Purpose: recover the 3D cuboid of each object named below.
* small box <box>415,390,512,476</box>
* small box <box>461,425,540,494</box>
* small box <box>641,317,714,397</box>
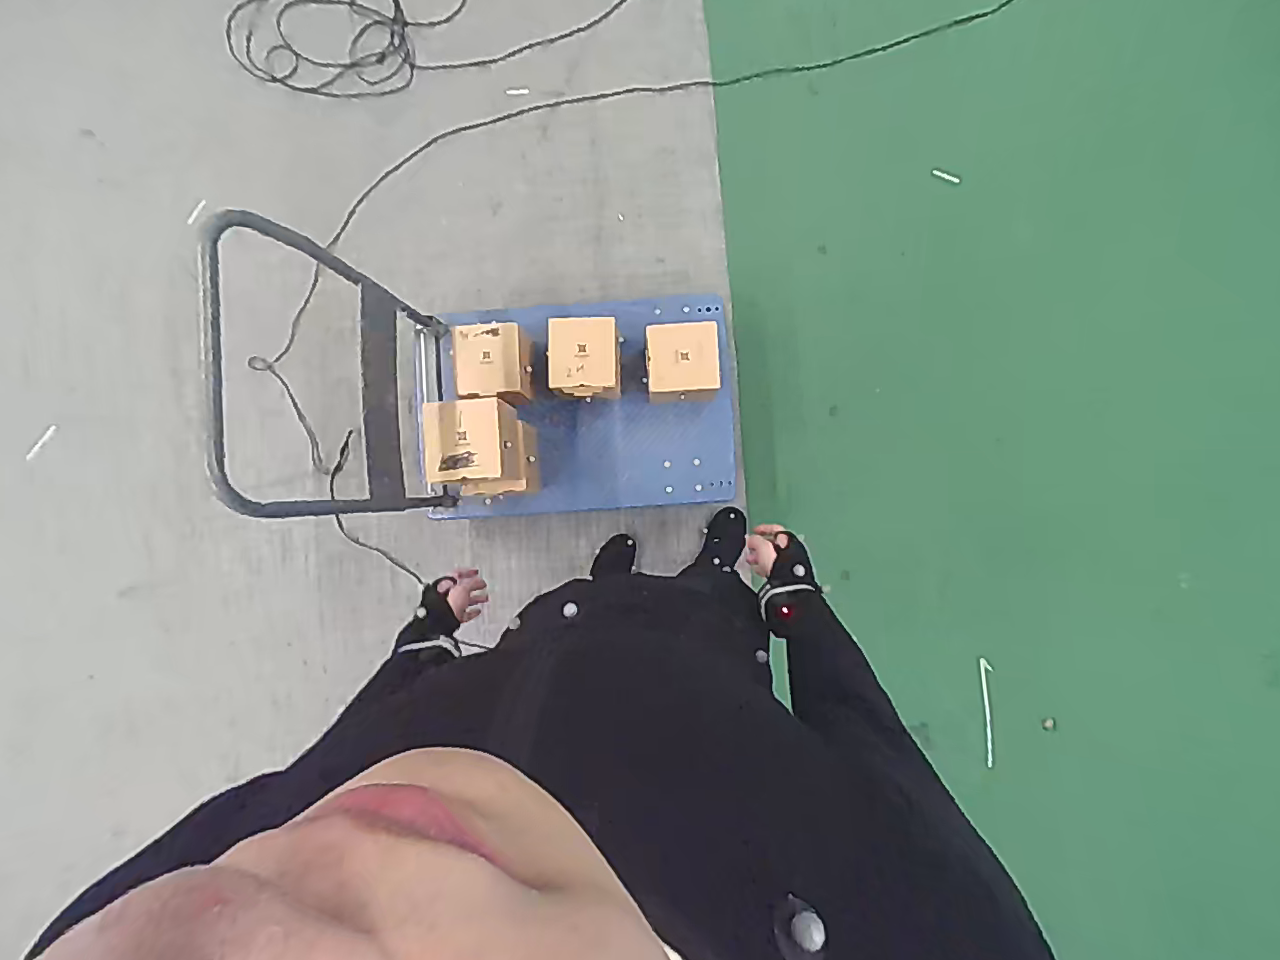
[{"bbox_3d":[-0.391,-0.100,1.225,0.168,0.176,0.179,-3,88,0],"label":"small box"},{"bbox_3d":[-0.385,-0.072,1.396,0.179,0.176,0.168,27,91,3],"label":"small box"},{"bbox_3d":[0.094,-0.307,1.383,0.179,0.176,0.168,-2,89,2],"label":"small box"}]
